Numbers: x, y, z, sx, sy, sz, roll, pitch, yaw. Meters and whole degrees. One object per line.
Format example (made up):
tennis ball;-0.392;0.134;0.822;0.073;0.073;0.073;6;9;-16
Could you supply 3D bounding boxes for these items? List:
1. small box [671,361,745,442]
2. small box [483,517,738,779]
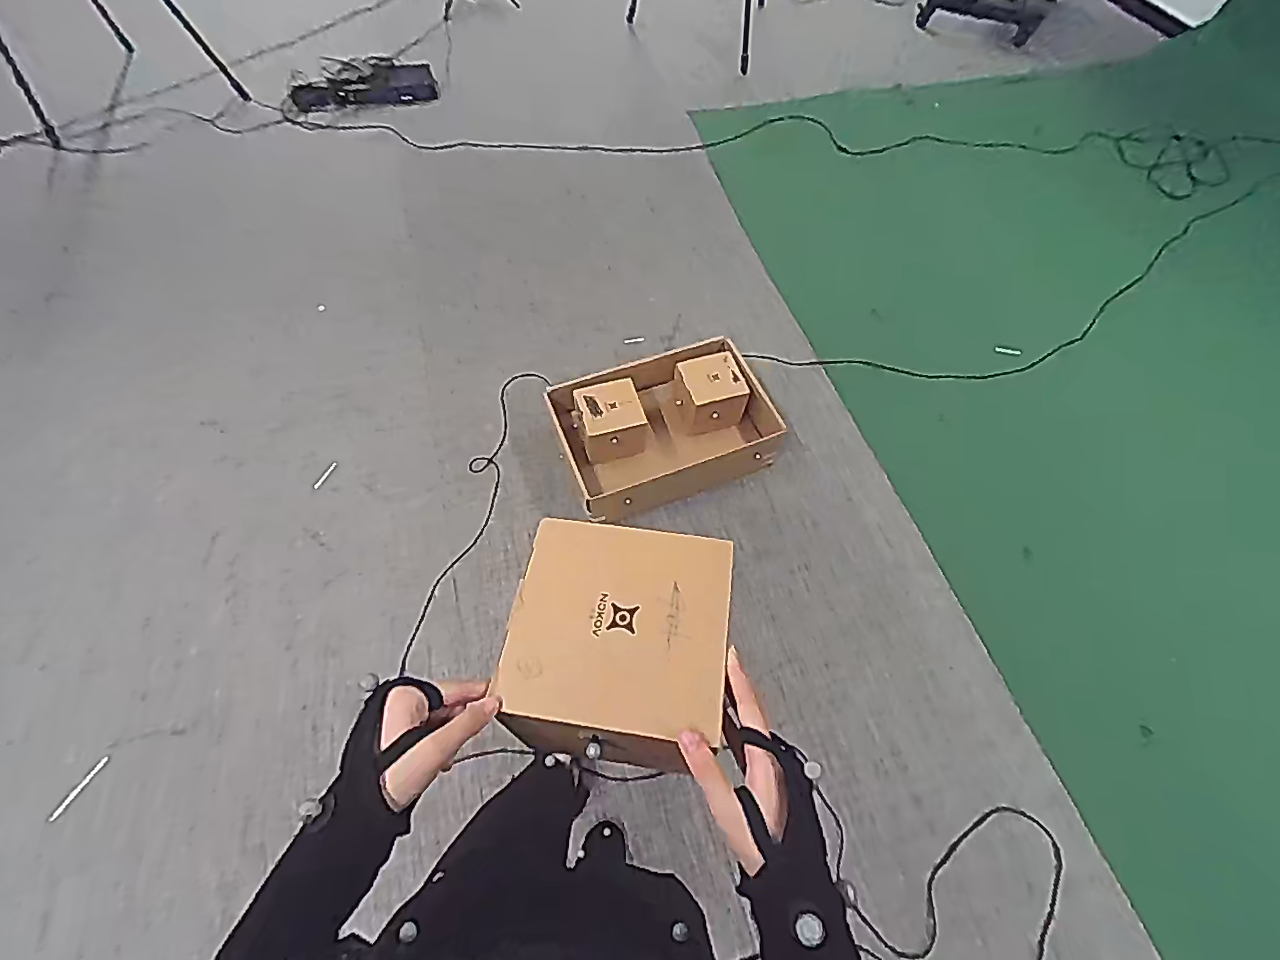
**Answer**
small box;0.200;-0.236;1.663;0.179;0.176;0.168;-14;63;-10
small box;-0.014;0.157;0.492;0.179;0.176;0.168;8;54;7
